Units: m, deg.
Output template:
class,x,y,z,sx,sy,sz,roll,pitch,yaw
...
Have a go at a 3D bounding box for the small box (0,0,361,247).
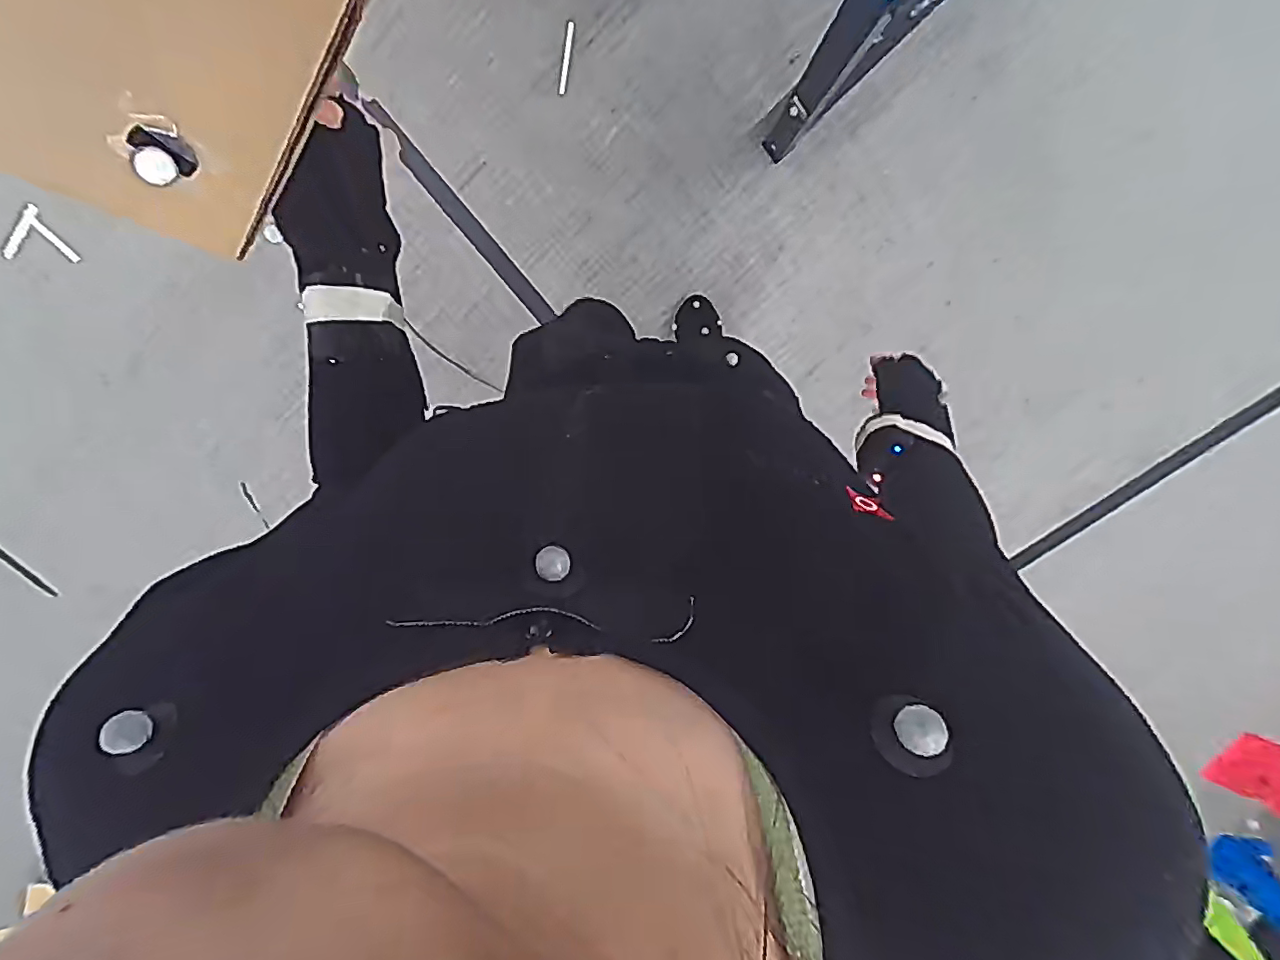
class,x,y,z,sx,sy,sz,roll,pitch,yaw
small box,-0.223,-0.243,0.214,0.179,0.176,0.168,-33,60,35
